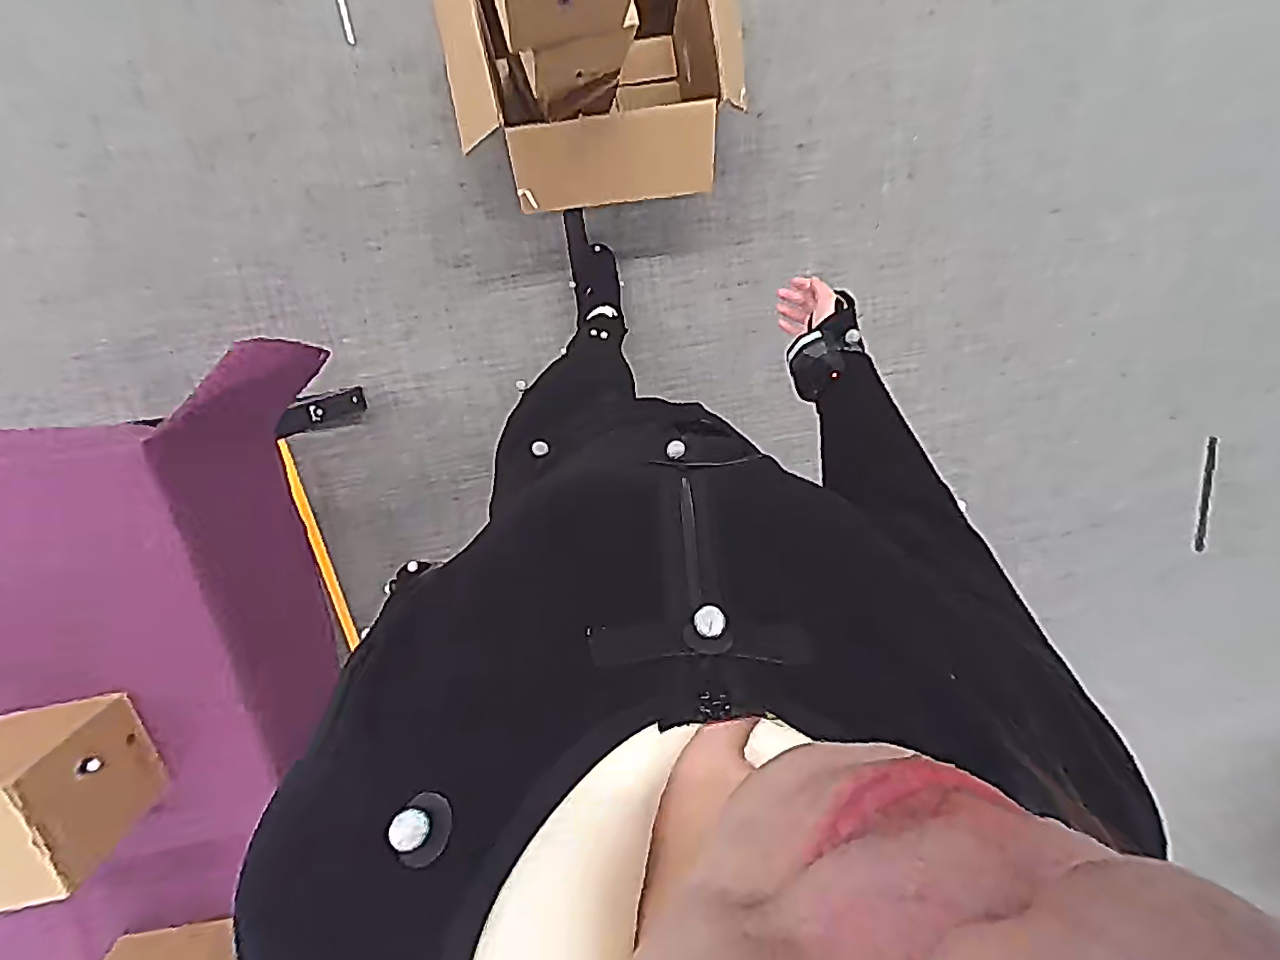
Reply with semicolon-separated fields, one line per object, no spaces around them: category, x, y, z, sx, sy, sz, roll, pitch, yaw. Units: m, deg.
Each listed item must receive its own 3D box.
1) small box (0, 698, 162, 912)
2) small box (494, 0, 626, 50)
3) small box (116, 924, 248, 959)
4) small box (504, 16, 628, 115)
small box;-0.767;0.405;0.686;0.179;0.176;0.168;-10;106;-3
small box;-0.113;-0.682;0.678;0.179;0.176;0.168;-18;111;-5
small box;-0.713;0.808;0.804;0.179;0.176;0.168;-6;106;-3
small box;-0.143;-0.809;0.983;0.179;0.176;0.168;-31;110;0
